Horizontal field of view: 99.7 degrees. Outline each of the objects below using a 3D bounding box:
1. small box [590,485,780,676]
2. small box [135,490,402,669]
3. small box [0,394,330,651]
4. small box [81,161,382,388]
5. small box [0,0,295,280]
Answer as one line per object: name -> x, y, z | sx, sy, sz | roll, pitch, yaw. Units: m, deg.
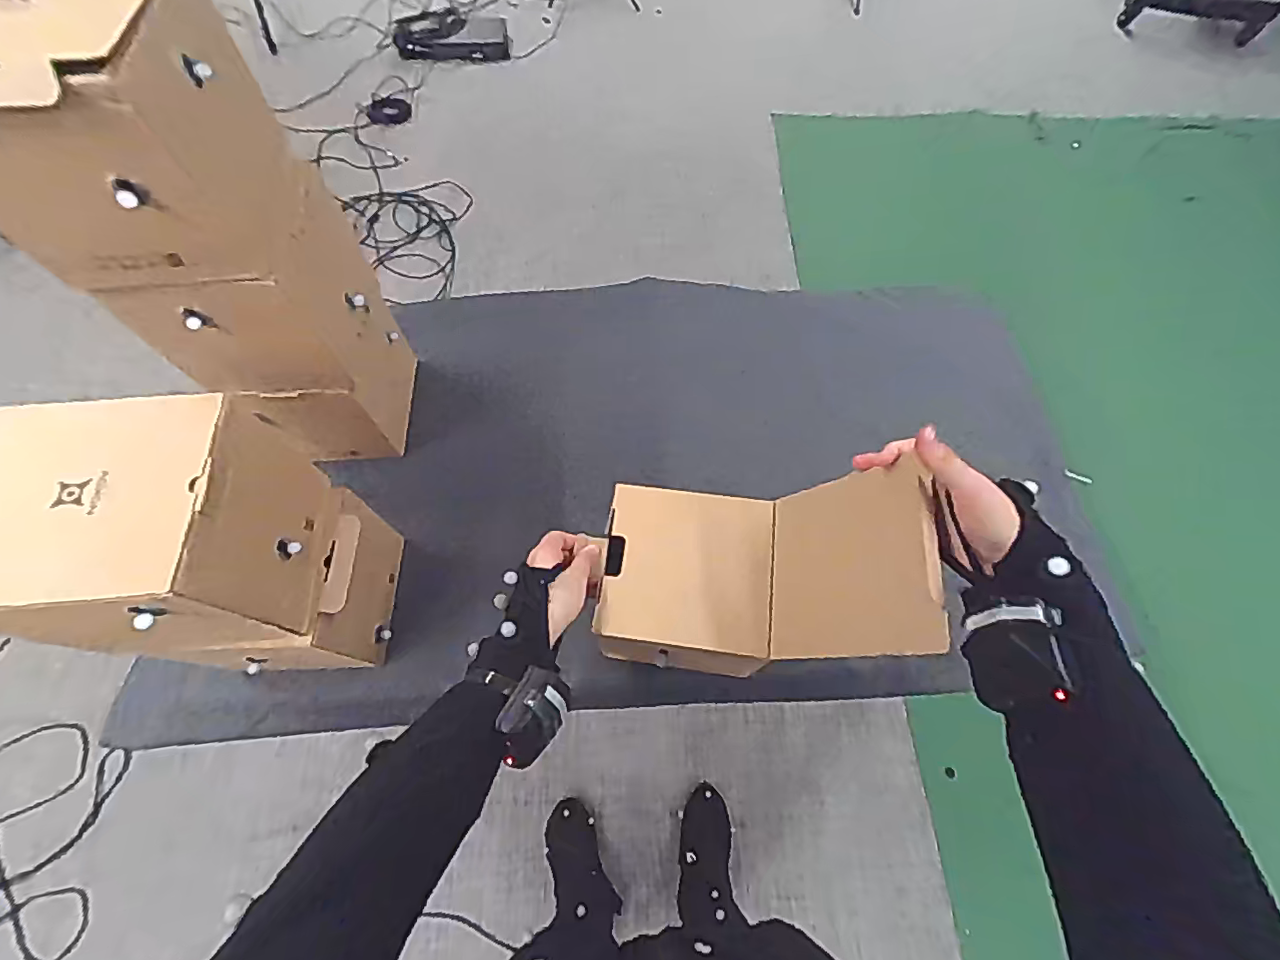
small box -> 0.053, 0.121, 0.615 | 0.179, 0.176, 0.168 | 7, 66, 6
small box -> -0.393, 0.118, 0.611 | 0.179, 0.176, 0.168 | -1, 65, -1
small box -> -0.405, 0.046, 0.465 | 0.179, 0.176, 0.168 | -5, 65, -4
small box -> -0.411, -0.212, 0.584 | 0.179, 0.176, 0.168 | -2, 66, -2
small box -> -0.414, -0.280, 0.436 | 0.168, 0.176, 0.179 | -5, 64, -5
